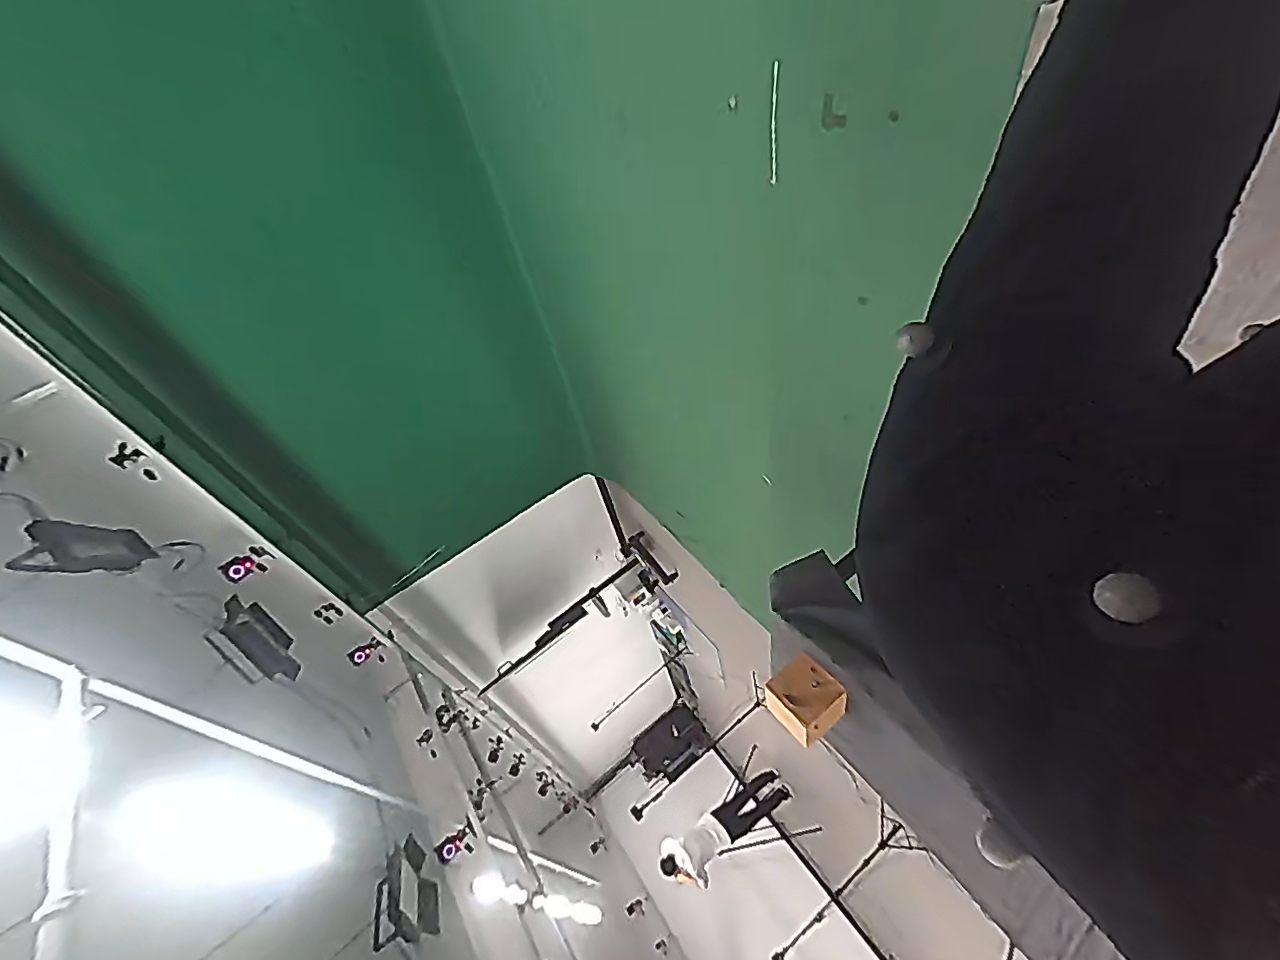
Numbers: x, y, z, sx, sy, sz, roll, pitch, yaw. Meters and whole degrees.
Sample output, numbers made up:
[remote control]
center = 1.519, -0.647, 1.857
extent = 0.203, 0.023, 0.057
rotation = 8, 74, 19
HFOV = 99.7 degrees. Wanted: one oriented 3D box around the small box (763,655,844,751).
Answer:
[small box]
center = 0.492, 0.667, 1.621
extent = 0.168, 0.176, 0.179
rotation = 40, 157, 42
